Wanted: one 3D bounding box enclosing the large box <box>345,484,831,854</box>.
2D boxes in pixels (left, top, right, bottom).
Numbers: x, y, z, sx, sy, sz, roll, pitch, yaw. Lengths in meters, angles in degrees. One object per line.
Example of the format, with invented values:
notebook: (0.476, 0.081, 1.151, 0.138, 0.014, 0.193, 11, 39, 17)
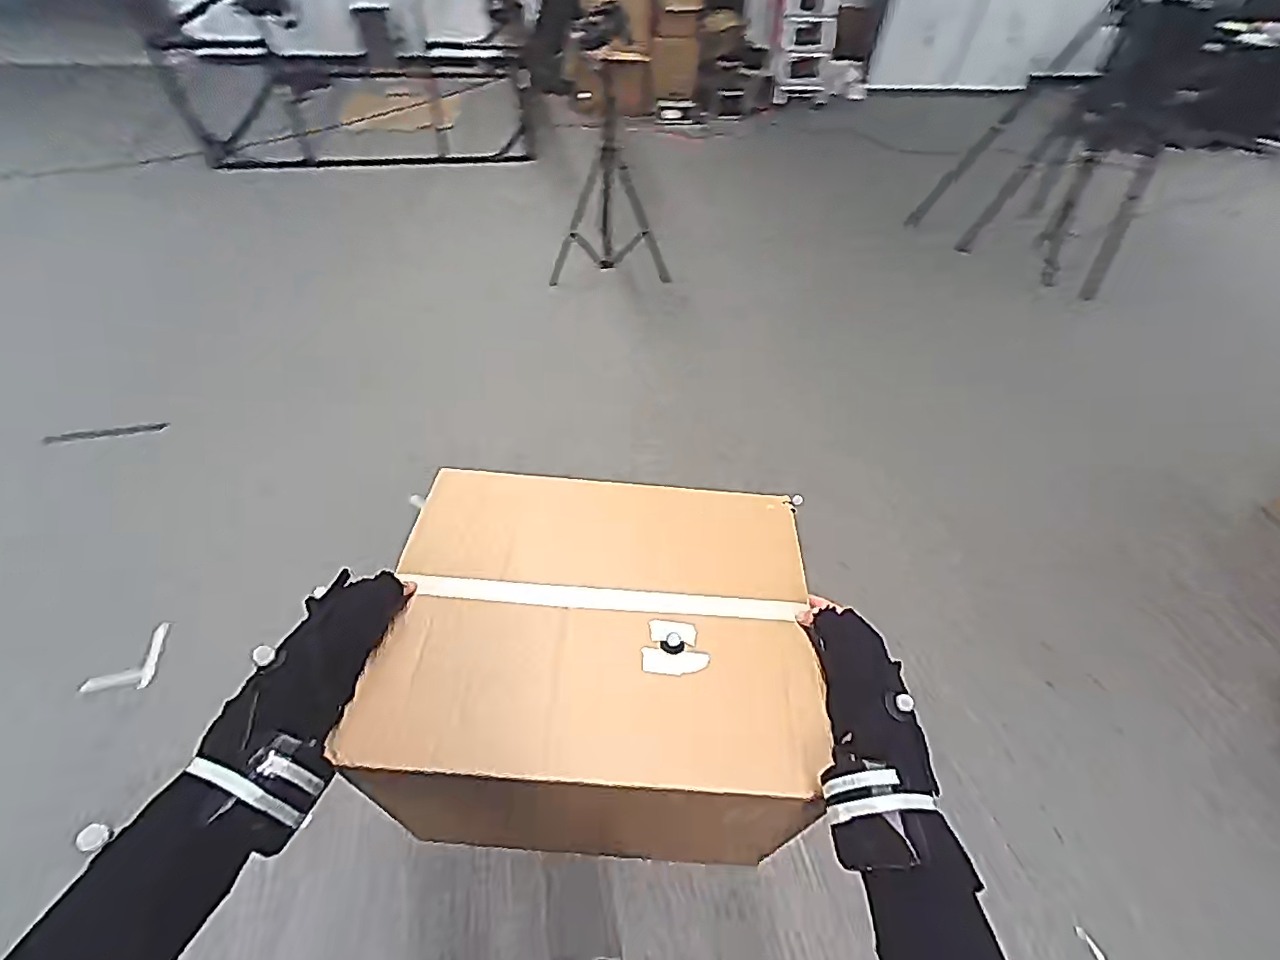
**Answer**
large box: (-0.048, 0.228, 0.643, 0.408, 0.320, 0.320, 4, 47, -2)
